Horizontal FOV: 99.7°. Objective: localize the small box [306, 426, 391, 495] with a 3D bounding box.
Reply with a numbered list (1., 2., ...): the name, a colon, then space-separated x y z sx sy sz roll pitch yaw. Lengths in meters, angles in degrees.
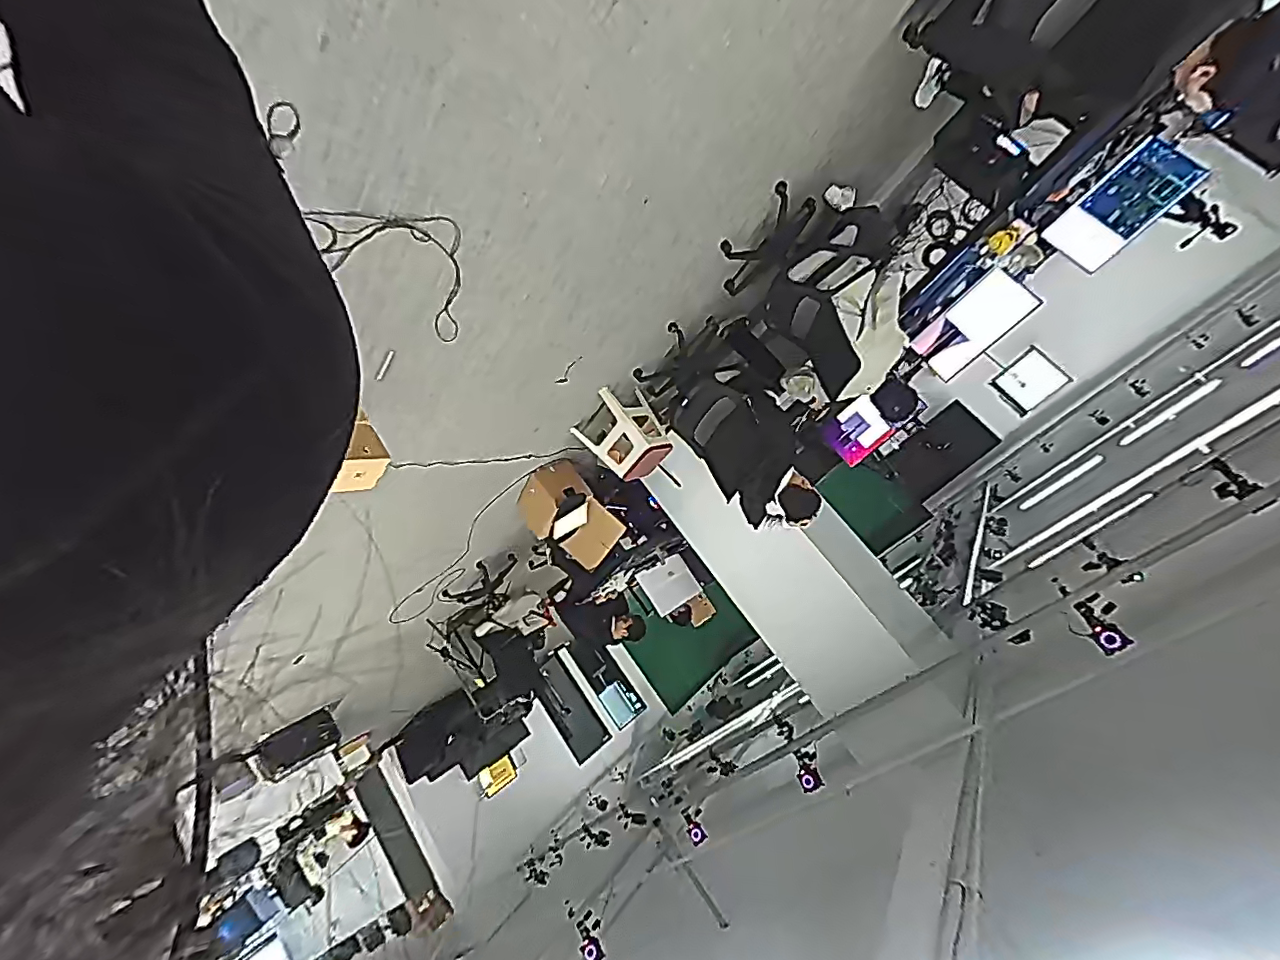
1. small box: -1.008 -0.071 1.866 0.168 0.176 0.179 -47 161 25
